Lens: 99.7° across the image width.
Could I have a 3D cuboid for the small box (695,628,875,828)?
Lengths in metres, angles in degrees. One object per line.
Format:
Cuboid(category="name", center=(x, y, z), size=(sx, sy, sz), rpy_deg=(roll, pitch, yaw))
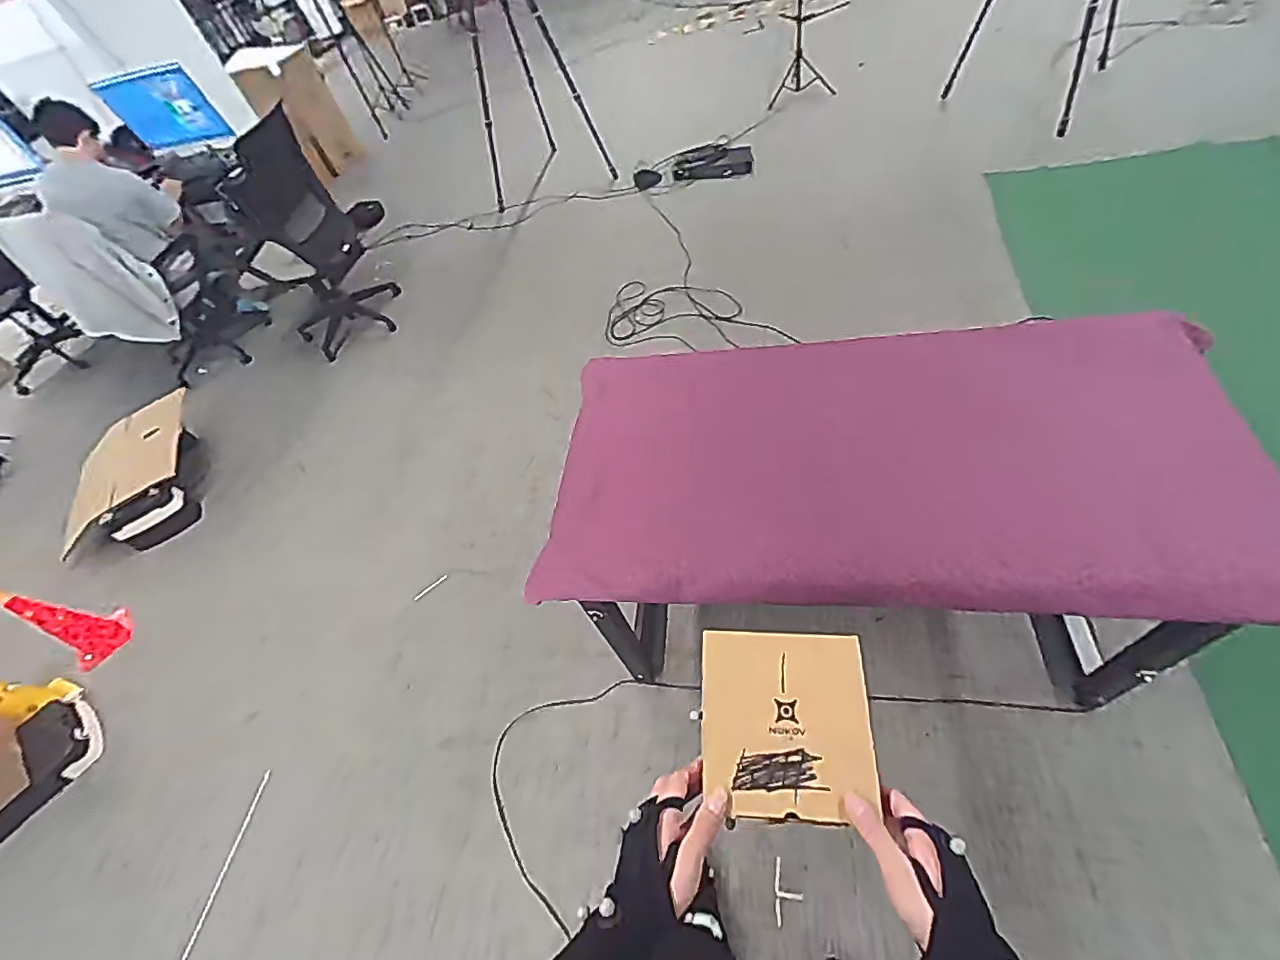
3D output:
Cuboid(category="small box", center=(0.148, 0.279, 0.609), size=(0.168, 0.176, 0.179), rpy_deg=(1, 59, 6))
